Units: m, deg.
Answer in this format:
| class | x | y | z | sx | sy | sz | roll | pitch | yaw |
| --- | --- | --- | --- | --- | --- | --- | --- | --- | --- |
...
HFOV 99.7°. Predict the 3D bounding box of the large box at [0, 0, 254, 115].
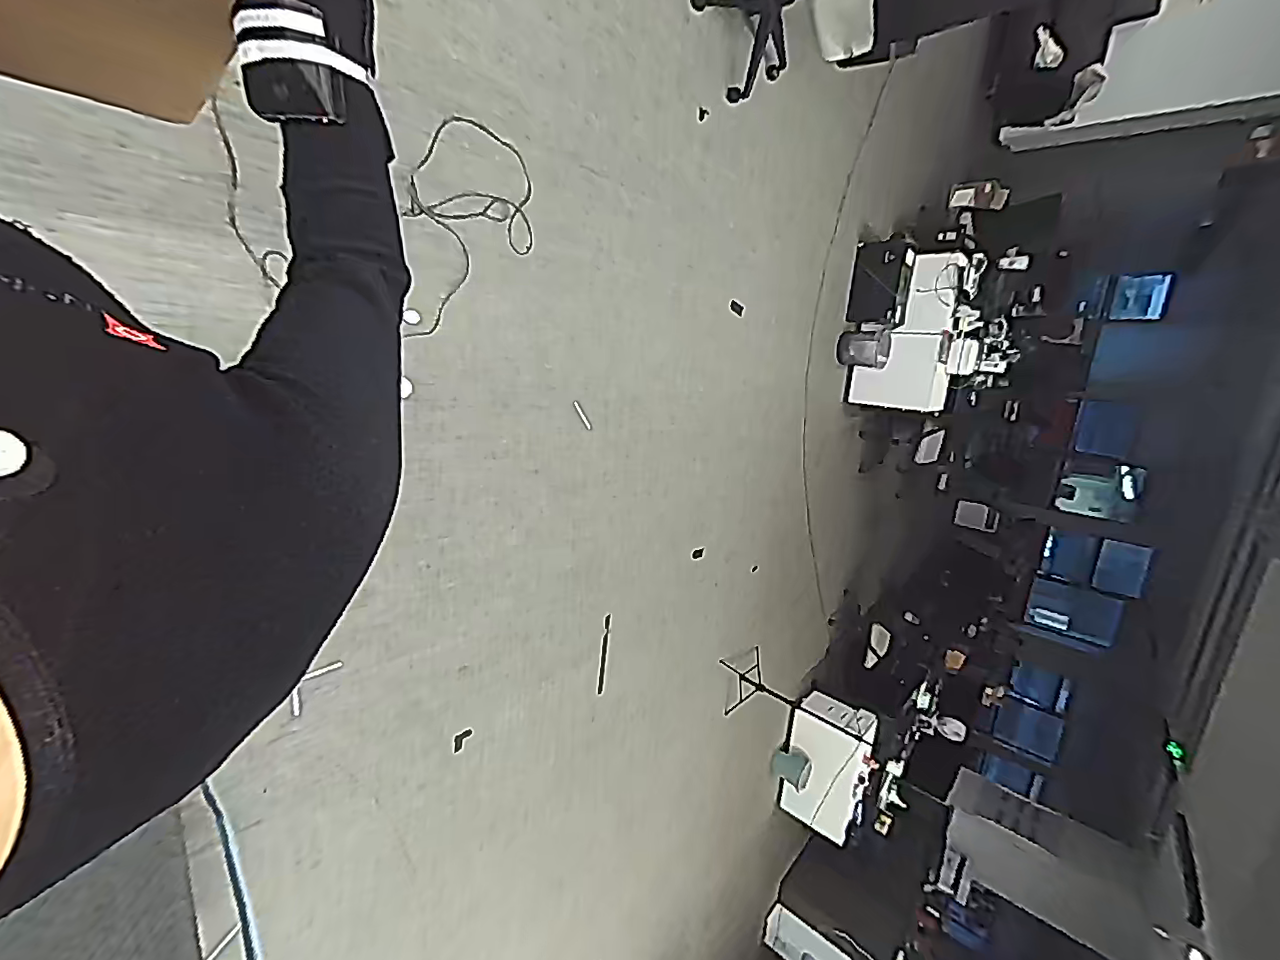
| class | x | y | z | sx | sy | sz | roll | pitch | yaw |
| --- | --- | --- | --- | --- | --- | --- | --- | --- | --- |
| large box | -0.474 | -0.460 | 0.269 | 0.408 | 0.320 | 0.320 | -11 | 106 | -47 |
